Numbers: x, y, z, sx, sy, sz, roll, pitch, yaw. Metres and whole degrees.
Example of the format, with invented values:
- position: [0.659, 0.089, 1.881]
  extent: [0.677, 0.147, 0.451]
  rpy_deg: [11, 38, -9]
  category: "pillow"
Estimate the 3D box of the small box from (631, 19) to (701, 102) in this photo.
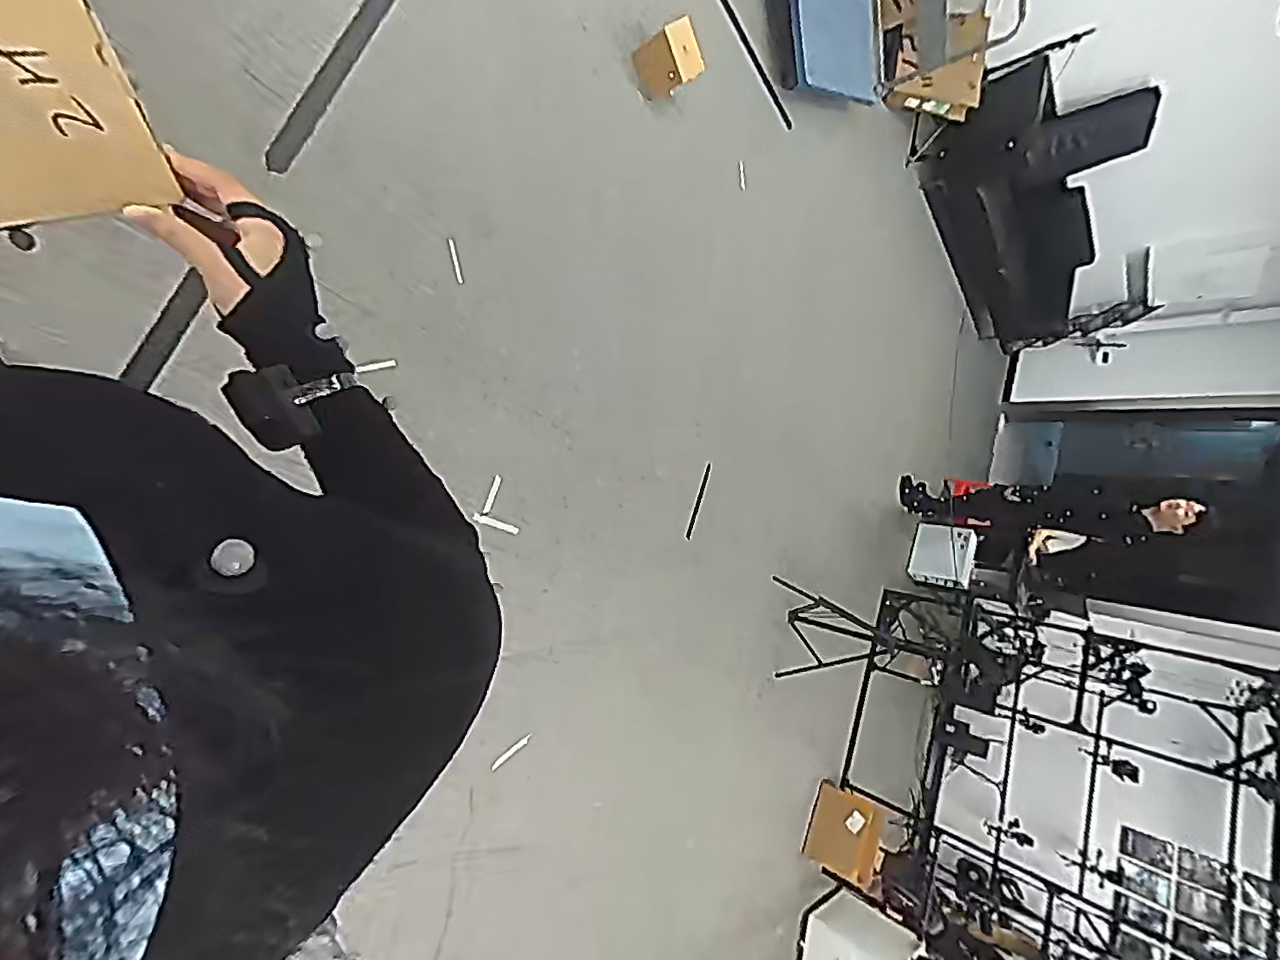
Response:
- position: [0.095, -1.557, 2.014]
  extent: [0.168, 0.176, 0.179]
  rpy_deg: [-51, 127, -30]
  category: "small box"
